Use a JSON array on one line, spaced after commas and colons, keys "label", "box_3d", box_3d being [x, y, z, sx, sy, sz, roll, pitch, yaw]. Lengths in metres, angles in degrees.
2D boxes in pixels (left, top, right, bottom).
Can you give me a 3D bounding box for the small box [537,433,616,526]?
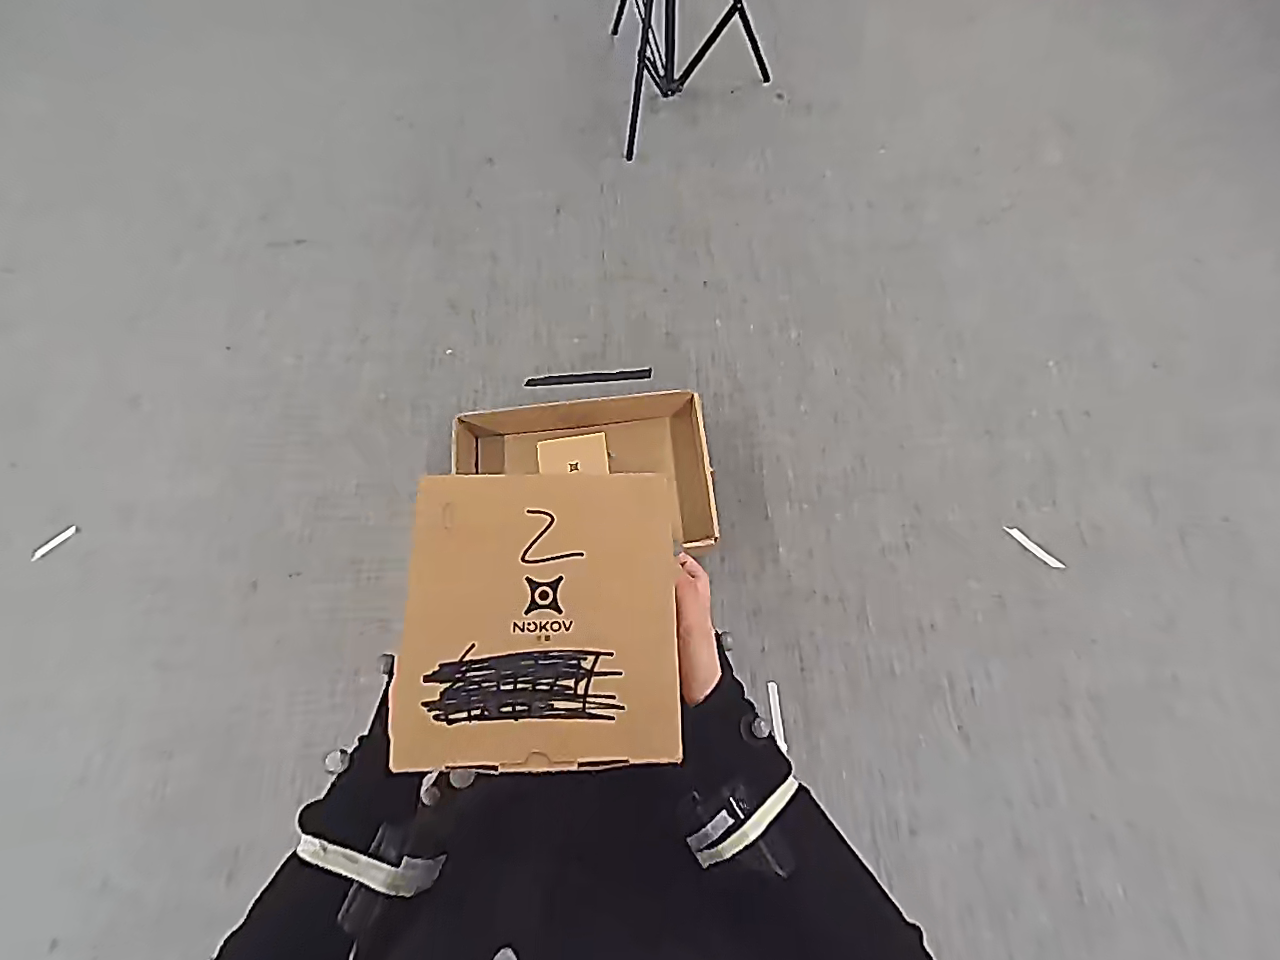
[{"label": "small box", "box_3d": [-0.153, 0.003, 1.340, 0.168, 0.176, 0.179, -8, 72, 0]}]
